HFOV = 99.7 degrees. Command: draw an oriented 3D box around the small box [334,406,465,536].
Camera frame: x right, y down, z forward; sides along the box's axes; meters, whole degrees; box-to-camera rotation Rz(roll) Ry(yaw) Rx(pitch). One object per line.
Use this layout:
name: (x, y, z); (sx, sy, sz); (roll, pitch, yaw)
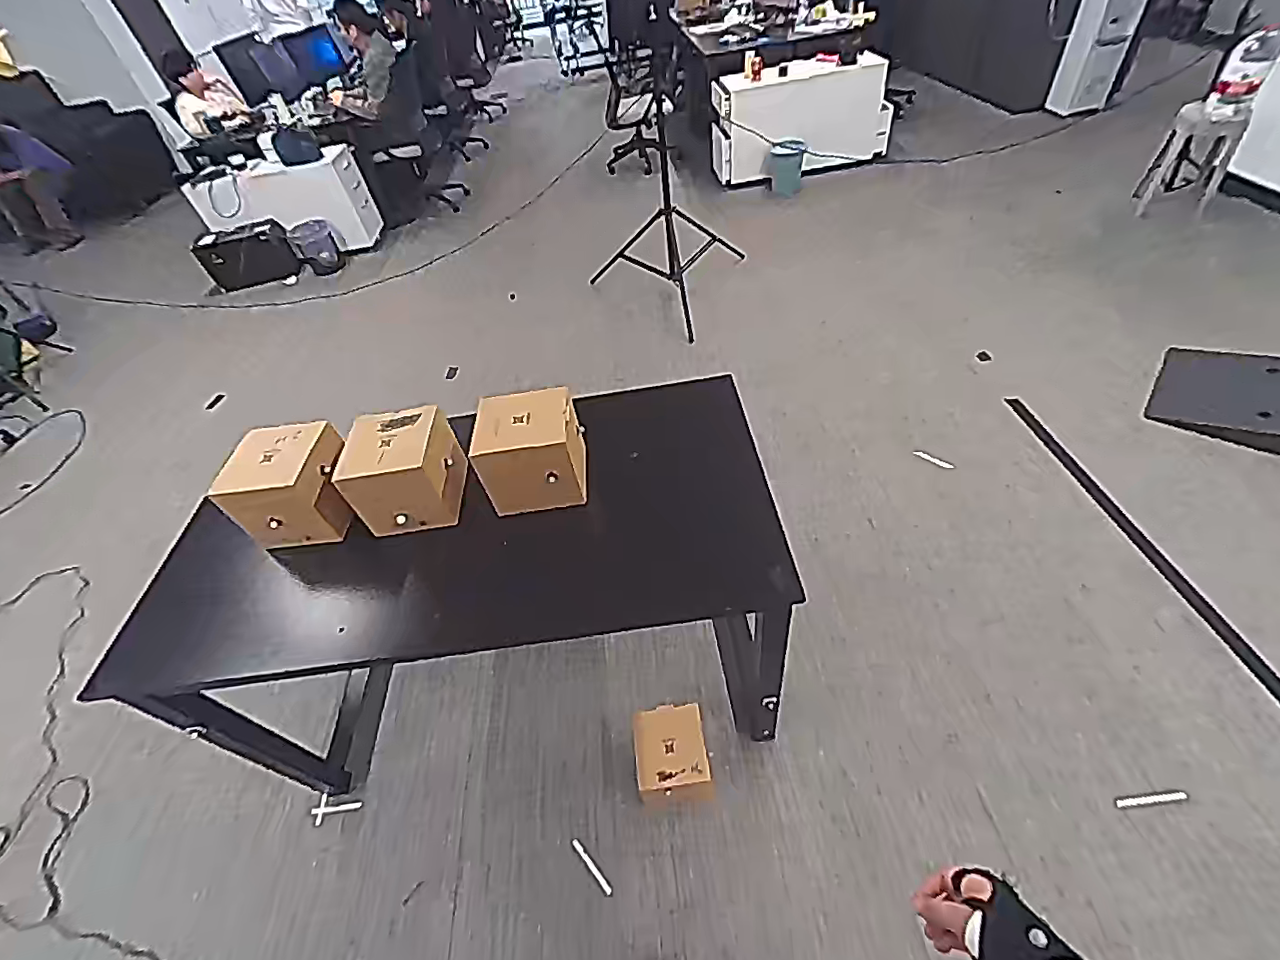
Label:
small box: (-0.454, -0.016, 1.056); (0.168, 0.176, 0.179); (-9, 48, 1)

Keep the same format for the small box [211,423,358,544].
small box: (-0.676, 0.013, 1.069); (0.168, 0.176, 0.179); (-6, 46, 3)

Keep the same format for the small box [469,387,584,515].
small box: (-0.208, -0.053, 1.049); (0.179, 0.176, 0.168); (-9, 45, 3)

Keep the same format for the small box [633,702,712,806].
small box: (0.079, 0.671, 1.323); (0.168, 0.176, 0.179); (-10, 46, 2)
